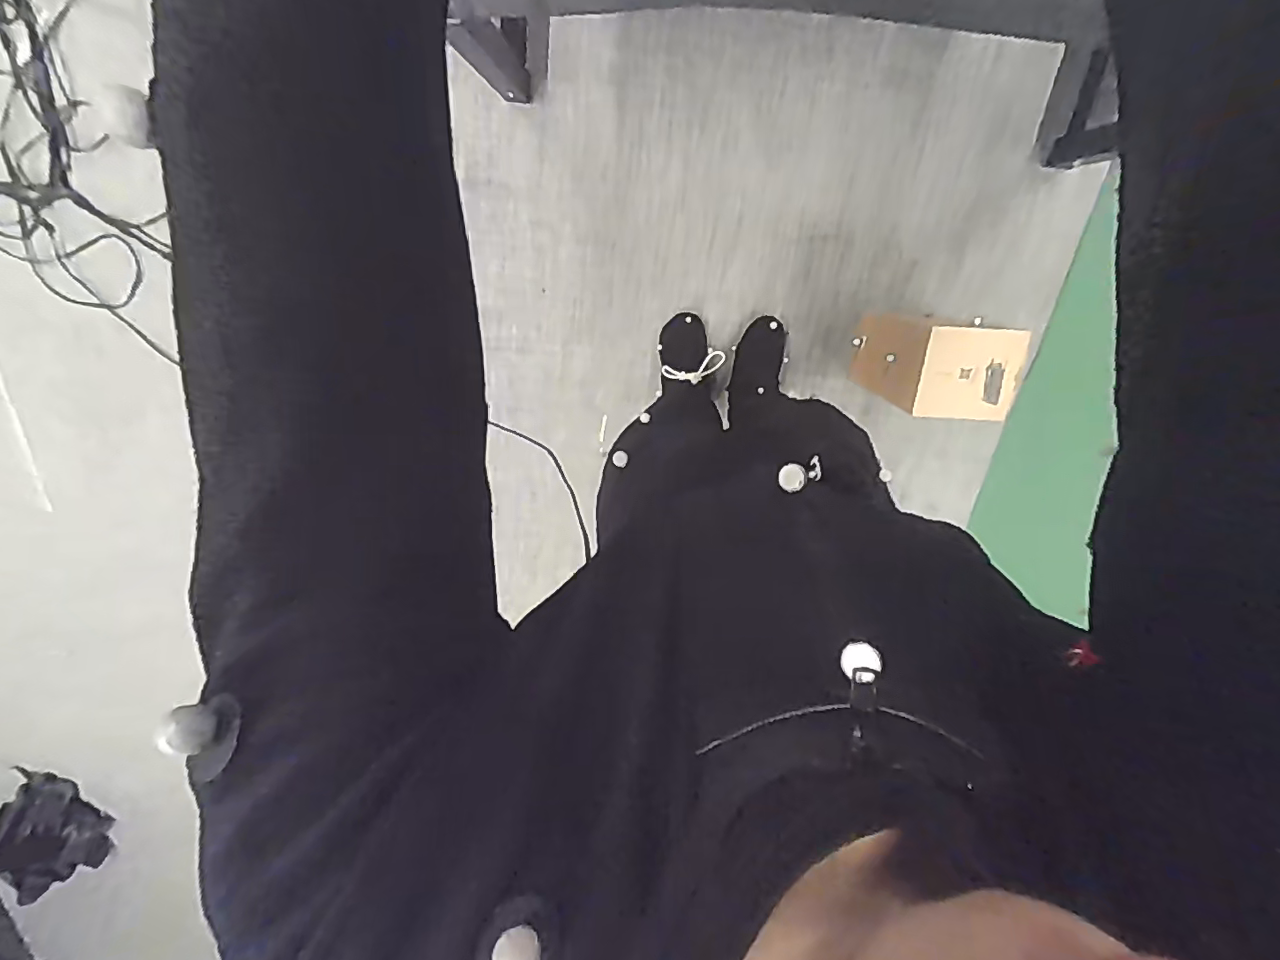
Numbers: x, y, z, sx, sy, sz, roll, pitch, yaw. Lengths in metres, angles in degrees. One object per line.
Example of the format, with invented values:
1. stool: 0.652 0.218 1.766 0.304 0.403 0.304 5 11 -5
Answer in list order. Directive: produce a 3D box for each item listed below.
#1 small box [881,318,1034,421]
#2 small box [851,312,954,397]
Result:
1. small box: 0.594 -0.218 1.038 0.179 0.176 0.168 2 111 1
2. small box: 0.591 -0.278 1.190 0.179 0.176 0.168 3 111 1
